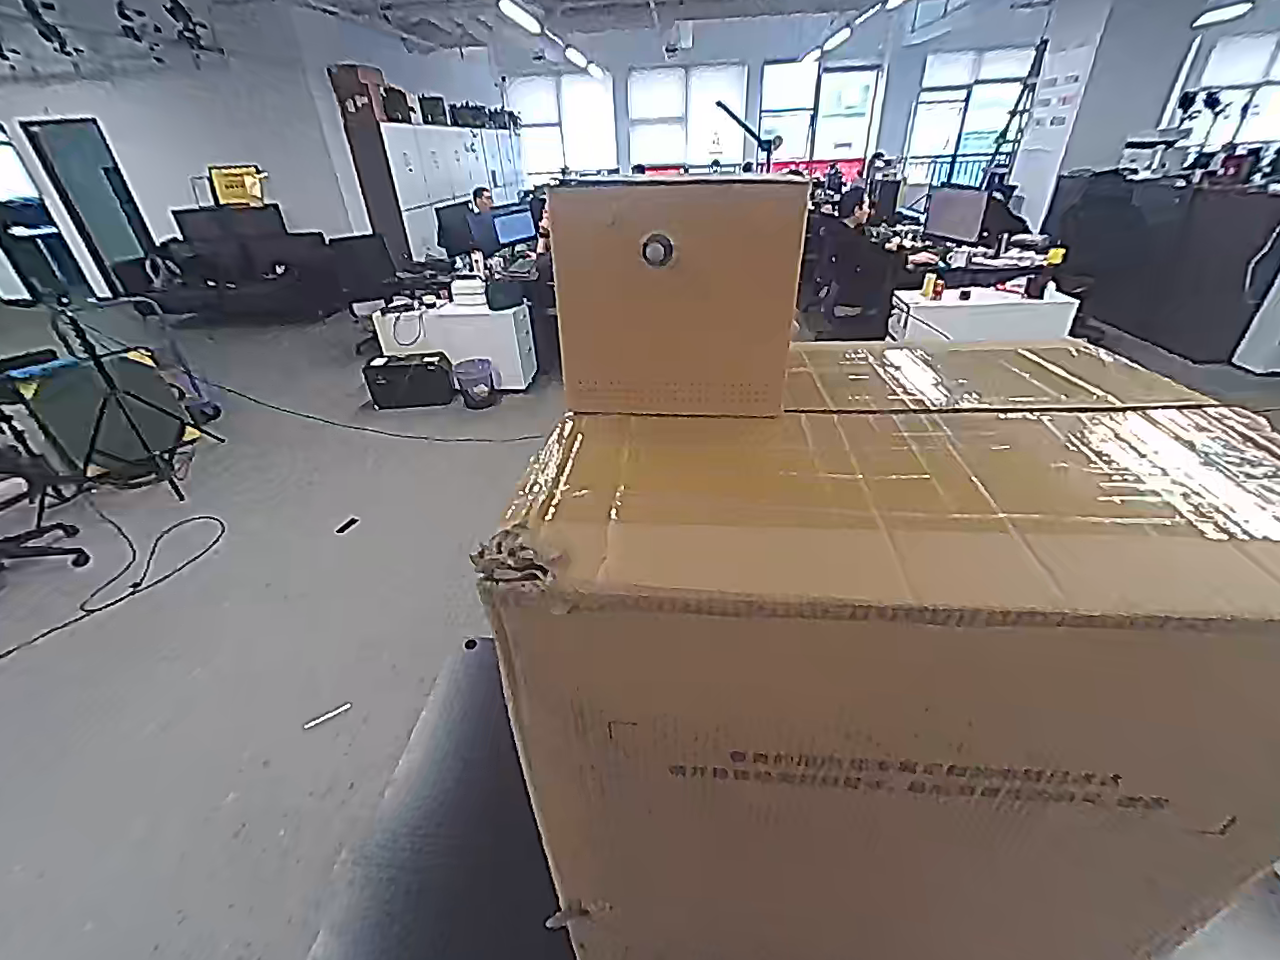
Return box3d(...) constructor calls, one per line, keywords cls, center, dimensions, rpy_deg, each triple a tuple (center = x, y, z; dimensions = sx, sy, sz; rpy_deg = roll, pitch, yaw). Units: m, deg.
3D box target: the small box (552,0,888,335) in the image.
box3d(cls="small box", center=(0.048, -0.205, 0.383), dimensions=(0.179, 0.176, 0.168), rpy_deg=(2, 31, 5))
